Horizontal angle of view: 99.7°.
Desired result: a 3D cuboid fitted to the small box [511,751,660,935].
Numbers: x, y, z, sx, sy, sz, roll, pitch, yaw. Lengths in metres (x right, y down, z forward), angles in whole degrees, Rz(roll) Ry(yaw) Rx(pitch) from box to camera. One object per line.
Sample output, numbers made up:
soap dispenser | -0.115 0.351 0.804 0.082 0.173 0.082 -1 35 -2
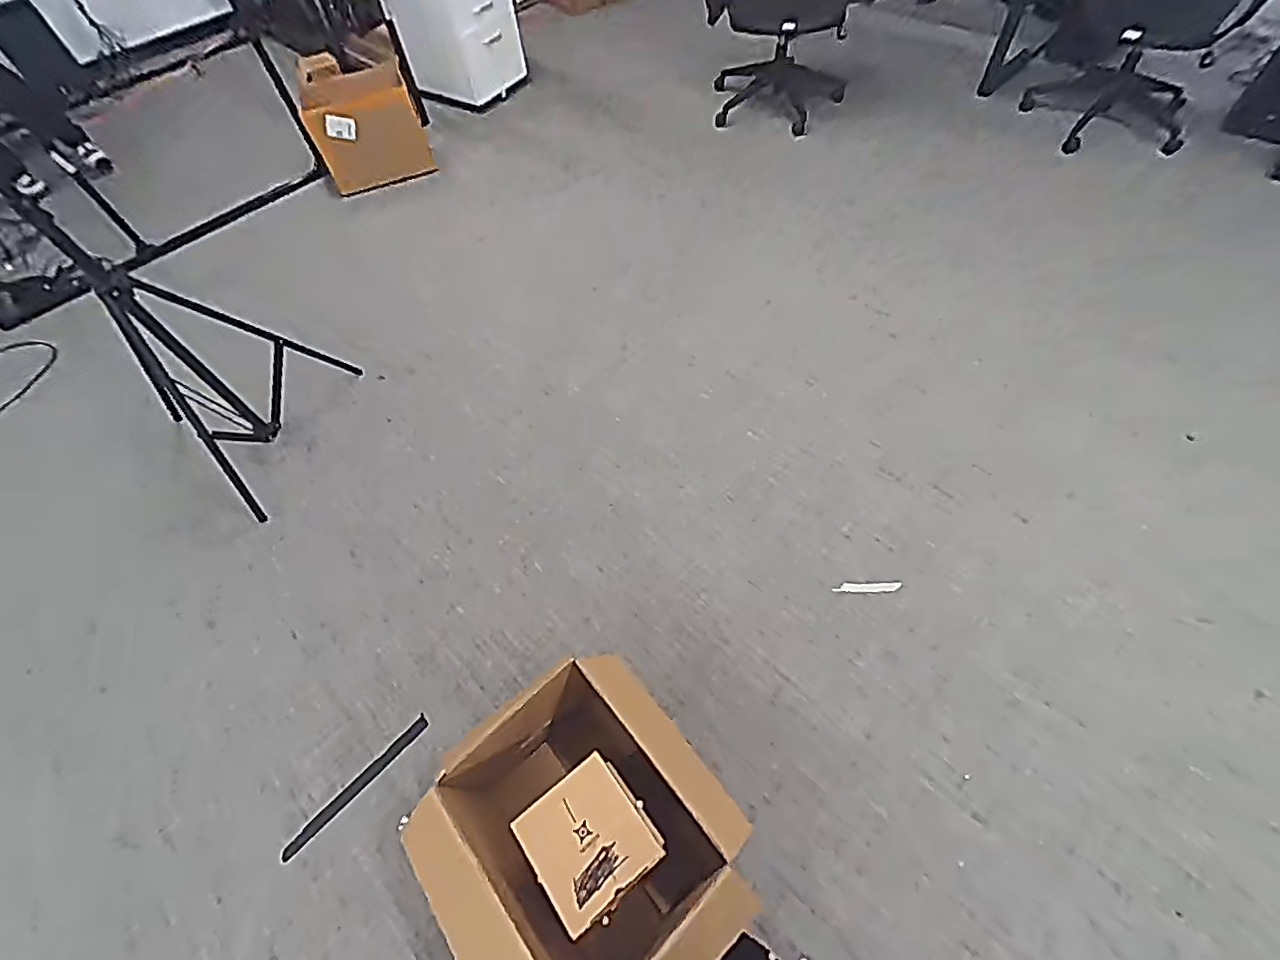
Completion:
small box | -0.078 0.580 0.879 0.168 0.176 0.179 -34 59 -19
